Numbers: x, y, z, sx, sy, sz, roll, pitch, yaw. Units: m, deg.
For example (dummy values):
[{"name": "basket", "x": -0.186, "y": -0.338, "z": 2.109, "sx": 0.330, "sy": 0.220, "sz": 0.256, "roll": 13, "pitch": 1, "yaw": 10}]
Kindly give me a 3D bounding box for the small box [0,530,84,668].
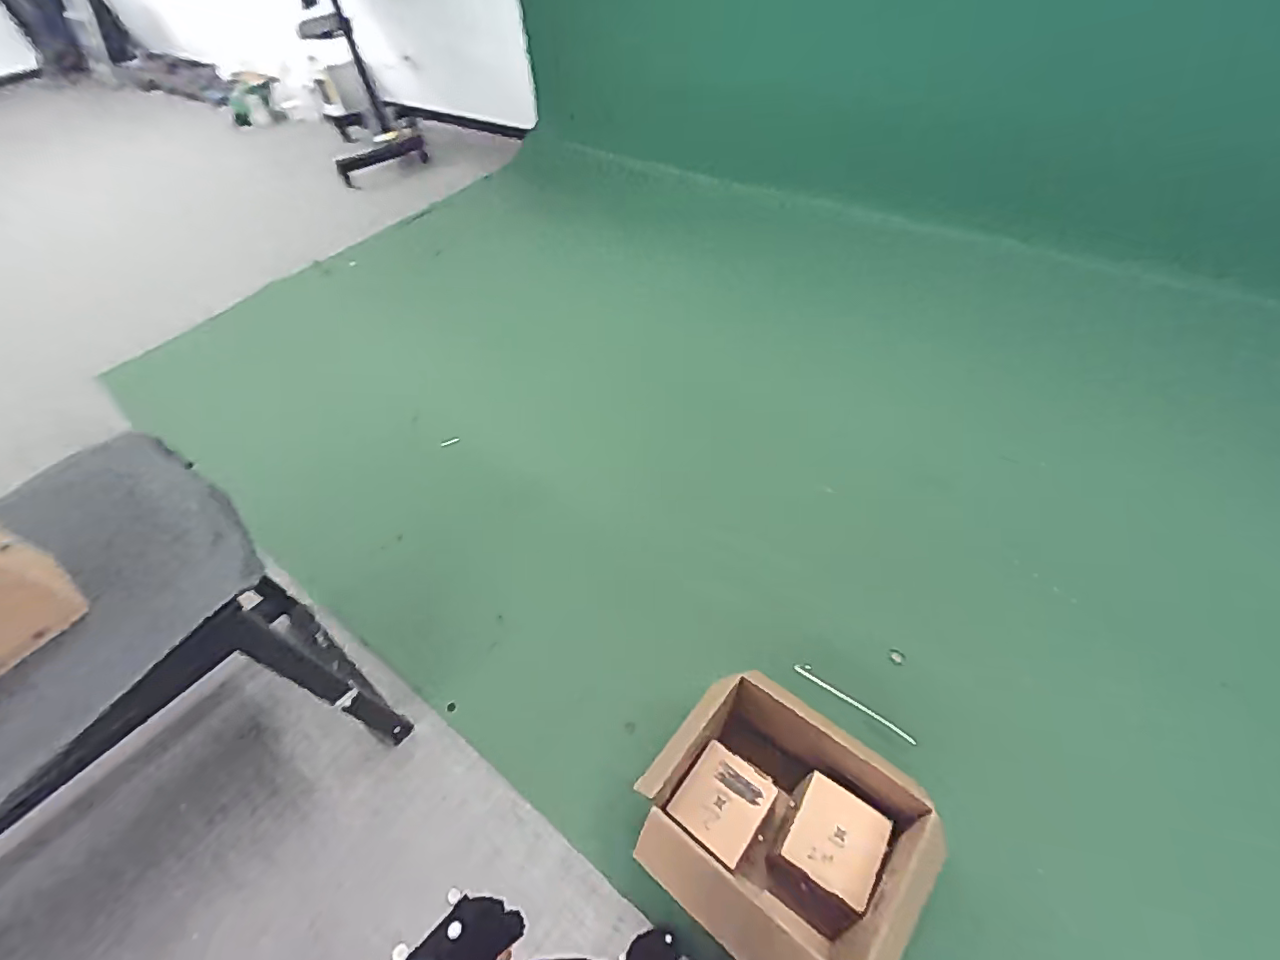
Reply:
[{"name": "small box", "x": -0.991, "y": 0.171, "z": 0.792, "sx": 0.179, "sy": 0.176, "sz": 0.168, "roll": 27, "pitch": 58, "yaw": 26}]
